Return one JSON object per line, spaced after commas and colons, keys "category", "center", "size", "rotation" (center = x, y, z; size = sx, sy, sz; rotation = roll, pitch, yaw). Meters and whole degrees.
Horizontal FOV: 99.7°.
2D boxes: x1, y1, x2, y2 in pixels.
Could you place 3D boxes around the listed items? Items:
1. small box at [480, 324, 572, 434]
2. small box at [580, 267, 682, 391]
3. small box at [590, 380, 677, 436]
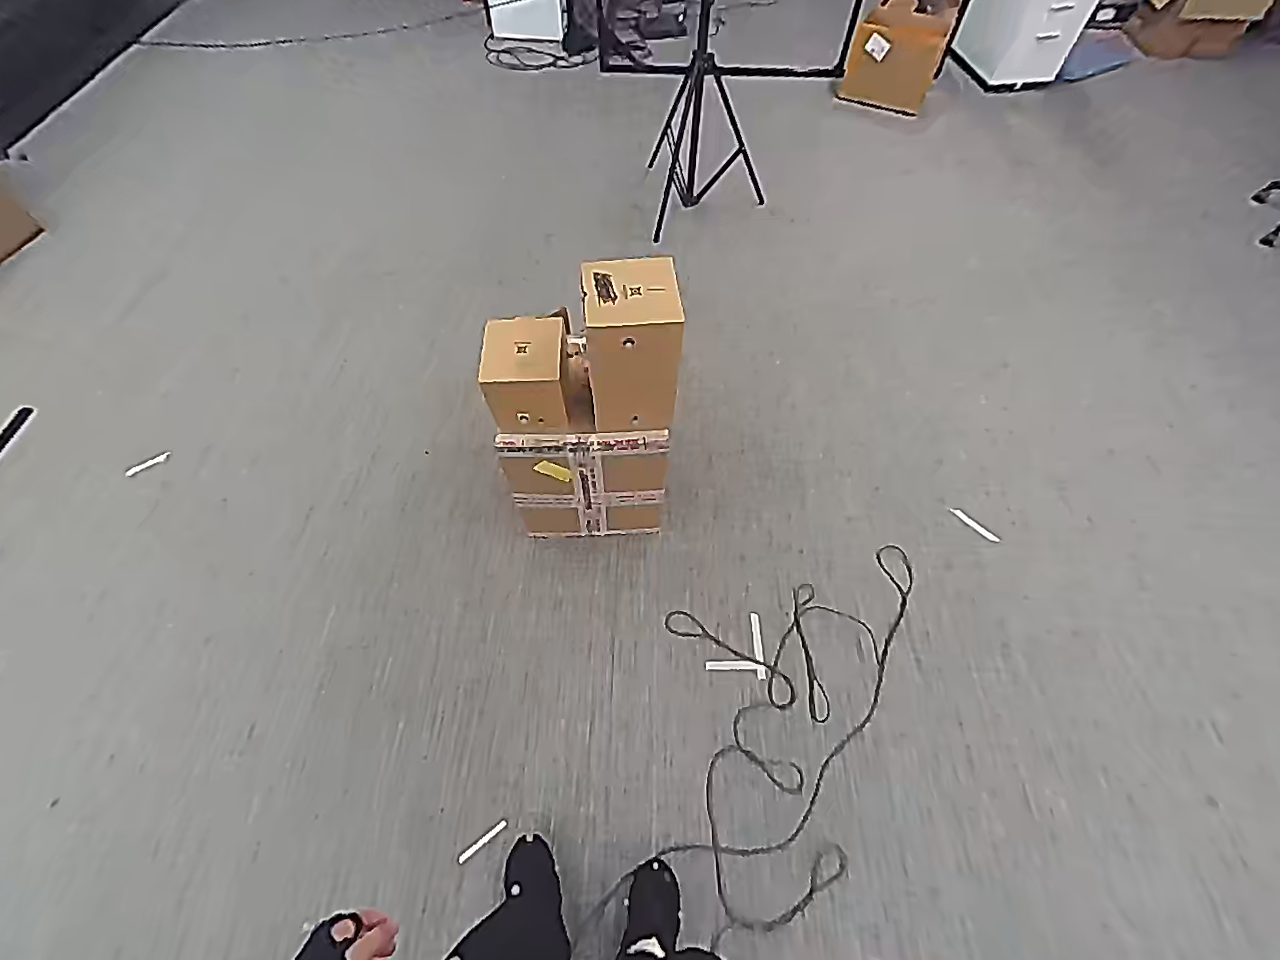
{"category": "small box", "center": [-0.244, -0.222, 1.202], "size": [0.168, 0.176, 0.179], "rotation": [-3, 62, 0]}
{"category": "small box", "center": [-0.020, -0.288, 1.053], "size": [0.179, 0.176, 0.168], "rotation": [-5, 62, -4]}
{"category": "small box", "center": [-0.022, -0.213, 1.201], "size": [0.179, 0.176, 0.168], "rotation": [-5, 62, -5]}
